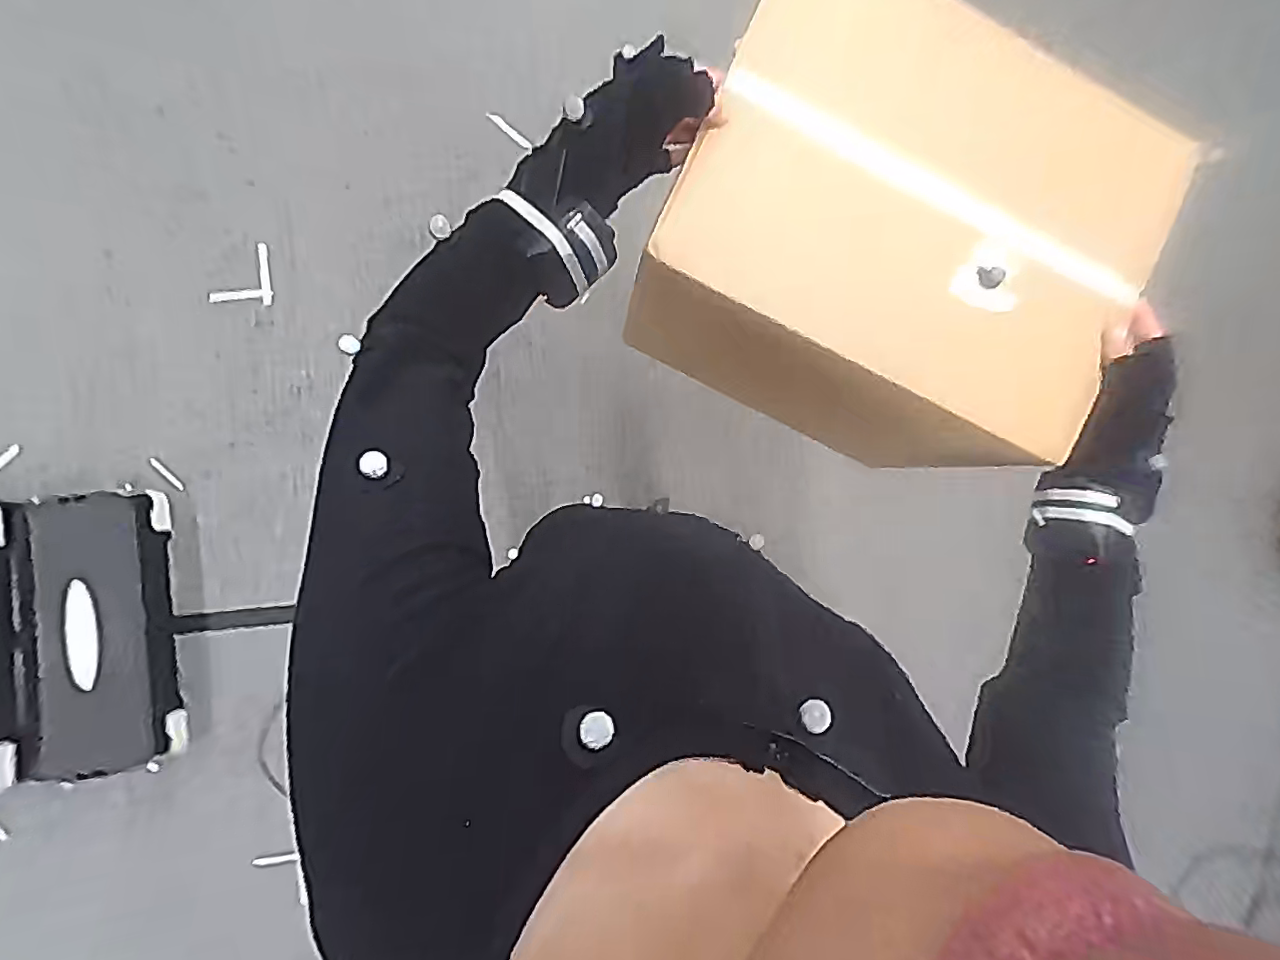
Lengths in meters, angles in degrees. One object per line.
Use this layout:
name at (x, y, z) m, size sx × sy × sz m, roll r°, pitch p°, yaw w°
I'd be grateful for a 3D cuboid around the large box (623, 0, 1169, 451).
large box at (0.227, -0.253, 0.615) m, size 0.408 × 0.320 × 0.320 m, roll 24°, pitch 89°, yaw -6°

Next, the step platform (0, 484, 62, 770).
step platform at (-1.601, 0.347, 1.251) m, size 0.286 × 0.204 × 0.684 m, roll -8°, pitch 85°, yaw -6°
